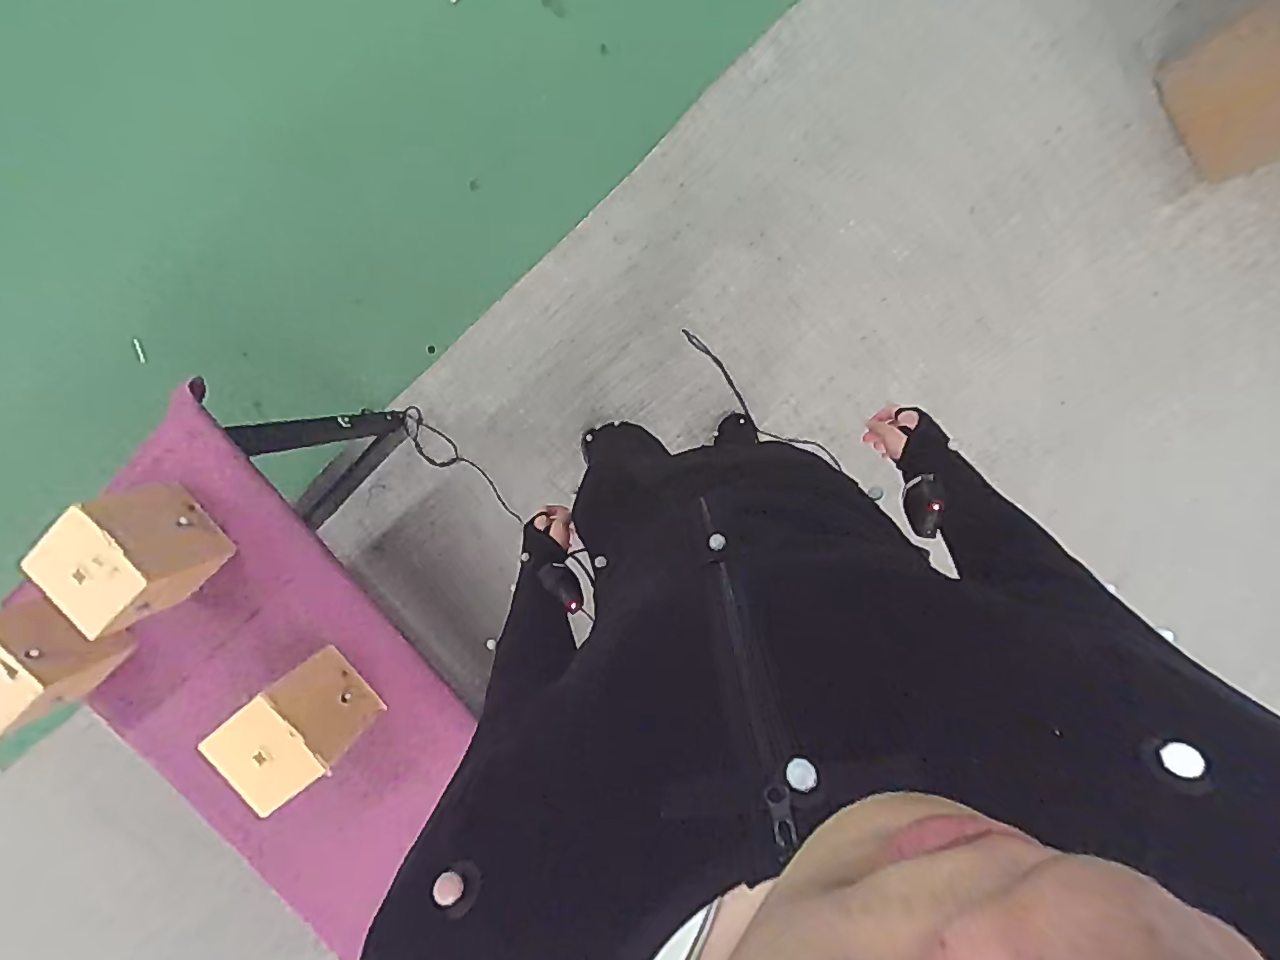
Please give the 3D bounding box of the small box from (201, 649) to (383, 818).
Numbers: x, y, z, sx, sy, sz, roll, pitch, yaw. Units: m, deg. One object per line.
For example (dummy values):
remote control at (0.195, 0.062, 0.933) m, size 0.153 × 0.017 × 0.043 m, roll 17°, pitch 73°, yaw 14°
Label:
small box at (-0.603, 0.439, 0.958) m, size 0.179 × 0.176 × 0.168 m, roll -38°, pitch 93°, yaw 12°

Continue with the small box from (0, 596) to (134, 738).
small box at (-1.111, 0.333, 0.998) m, size 0.179 × 0.176 × 0.168 m, roll -40°, pitch 95°, yaw 10°

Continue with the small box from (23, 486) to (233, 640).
small box at (-0.867, 0.134, 0.933) m, size 0.179 × 0.176 × 0.168 m, roll -38°, pitch 95°, yaw 13°
